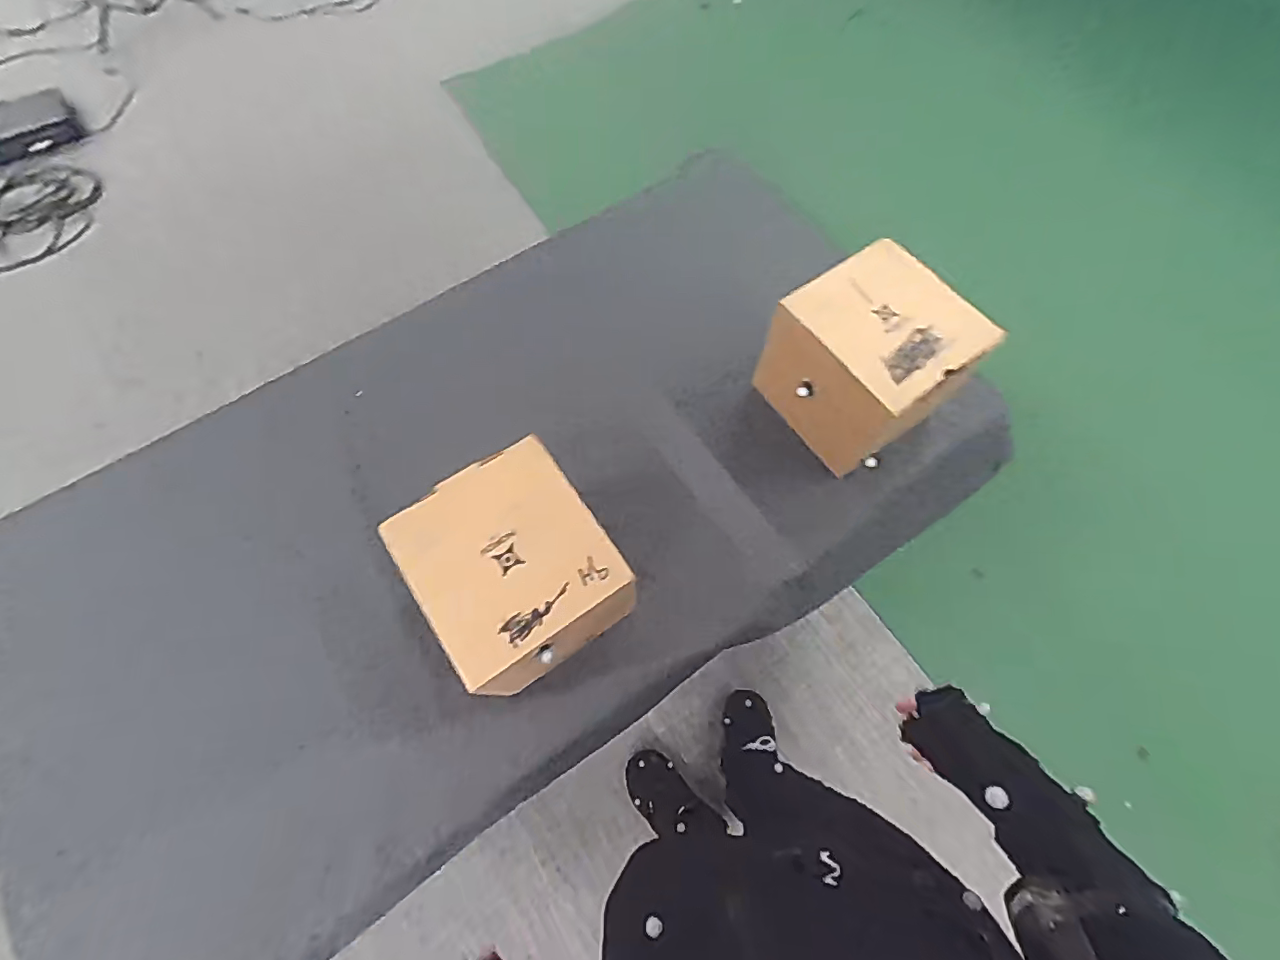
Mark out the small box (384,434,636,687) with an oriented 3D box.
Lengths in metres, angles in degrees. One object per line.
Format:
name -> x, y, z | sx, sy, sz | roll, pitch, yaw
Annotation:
small box -> -0.120, 0.092, 0.554 | 0.168, 0.176, 0.179 | -34, 71, -13

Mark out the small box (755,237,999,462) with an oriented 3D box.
small box -> 0.265, -0.142, 0.651 | 0.168, 0.176, 0.179 | -33, 71, -12
